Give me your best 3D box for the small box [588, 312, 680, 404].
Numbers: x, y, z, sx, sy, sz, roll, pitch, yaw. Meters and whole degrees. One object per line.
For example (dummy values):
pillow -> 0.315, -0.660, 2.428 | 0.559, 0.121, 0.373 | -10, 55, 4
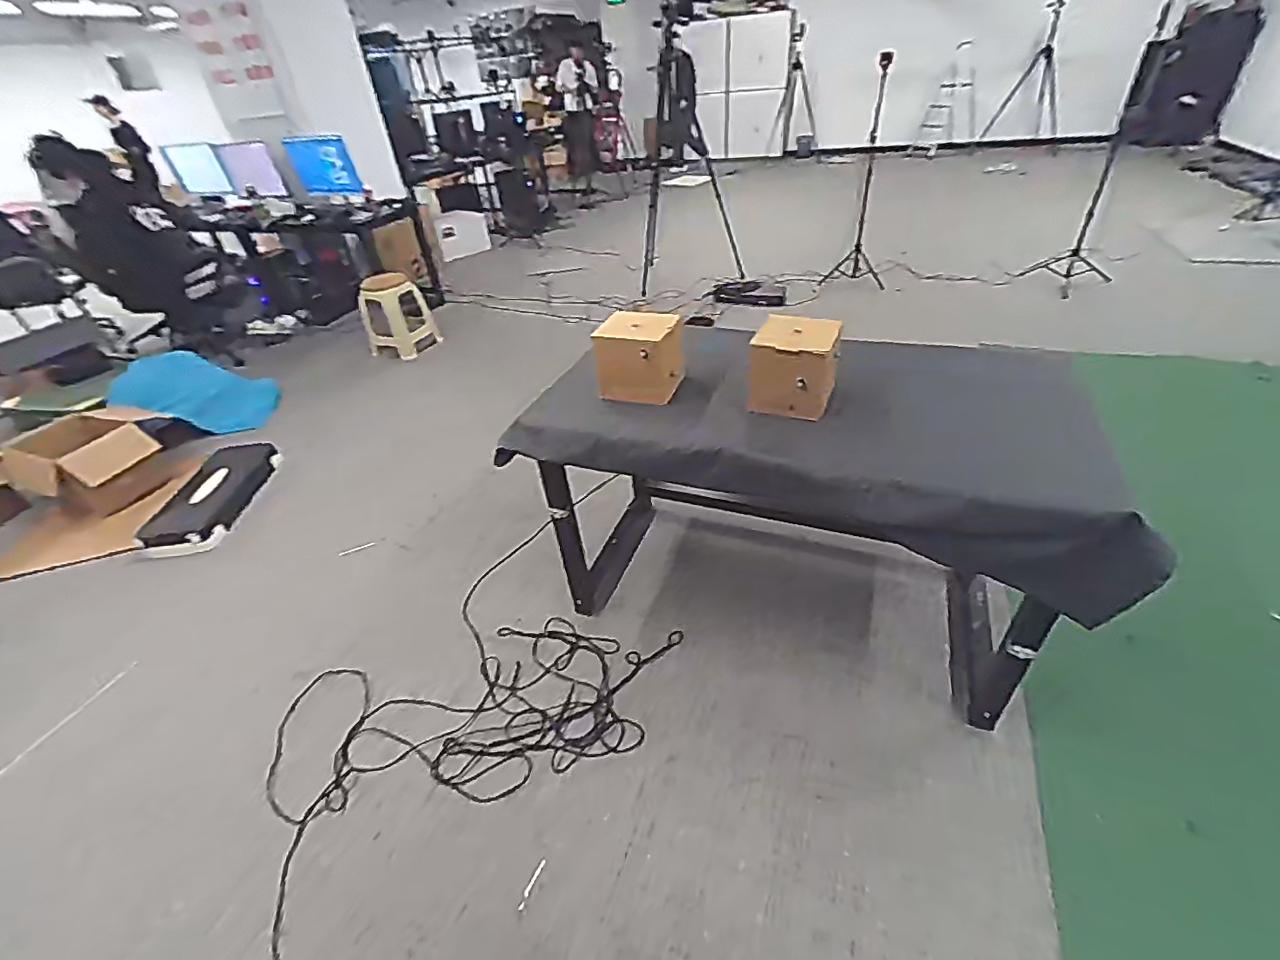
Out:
small box -> -0.007, -0.300, 1.330 | 0.179, 0.176, 0.168 | 9, 39, 18

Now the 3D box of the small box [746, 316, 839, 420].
small box -> 0.342, -0.255, 1.223 | 0.168, 0.176, 0.179 | 13, 40, 22
